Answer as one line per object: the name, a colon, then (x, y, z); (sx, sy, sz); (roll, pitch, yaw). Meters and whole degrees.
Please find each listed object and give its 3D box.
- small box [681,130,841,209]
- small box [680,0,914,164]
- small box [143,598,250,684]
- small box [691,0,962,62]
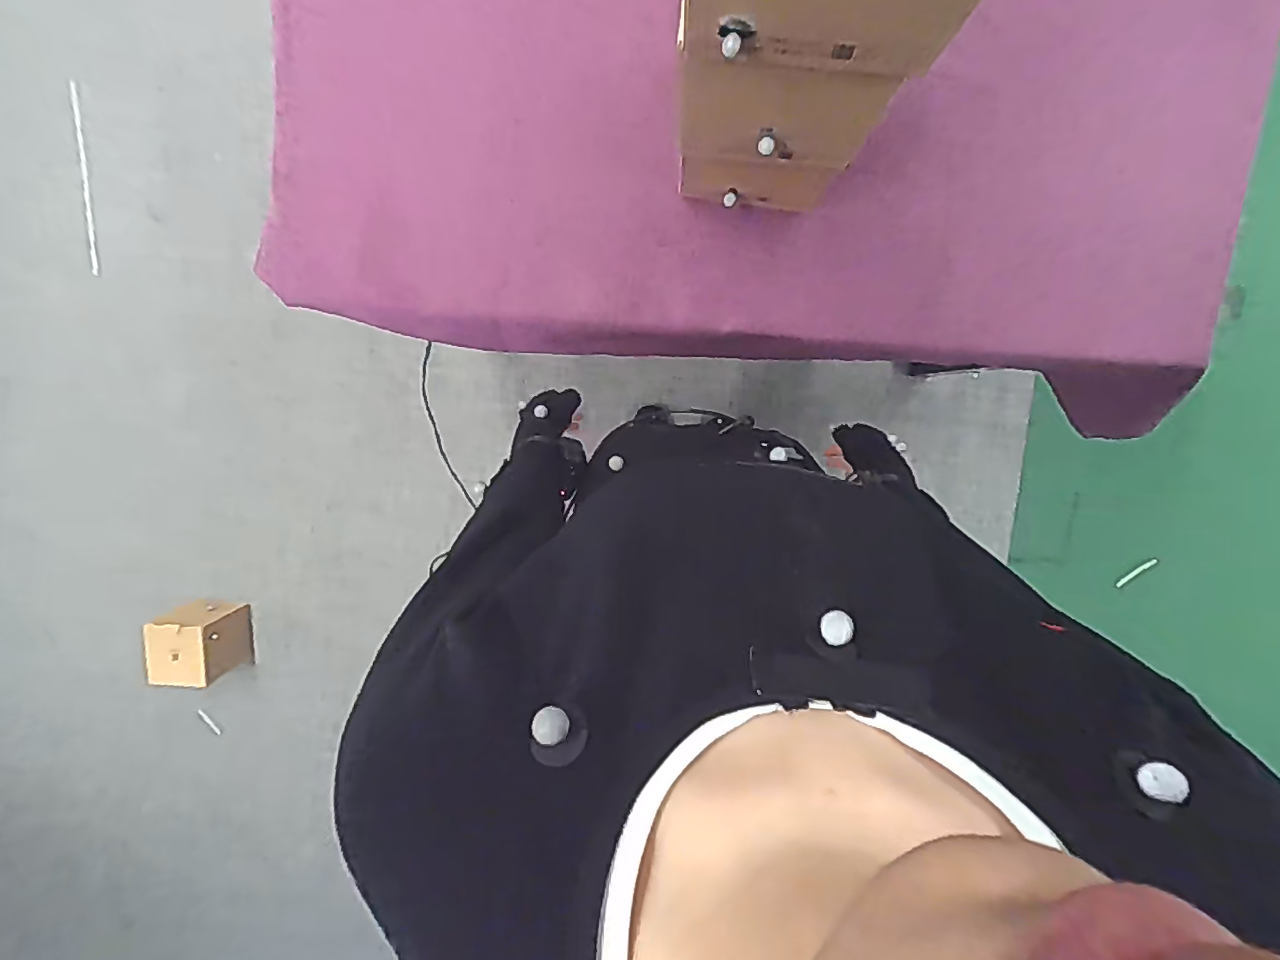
small box: (0.138, -0.430, 0.599); (0.168, 0.176, 0.179); (8, 99, 3)
small box: (0.123, -0.393, 0.439); (0.168, 0.176, 0.179); (7, 98, 3)
small box: (-1.241, 0.449, 1.524); (0.168, 0.176, 0.179); (3, 98, 2)
small box: (0.117, -0.361, 0.278); (0.168, 0.176, 0.179); (8, 97, 3)
